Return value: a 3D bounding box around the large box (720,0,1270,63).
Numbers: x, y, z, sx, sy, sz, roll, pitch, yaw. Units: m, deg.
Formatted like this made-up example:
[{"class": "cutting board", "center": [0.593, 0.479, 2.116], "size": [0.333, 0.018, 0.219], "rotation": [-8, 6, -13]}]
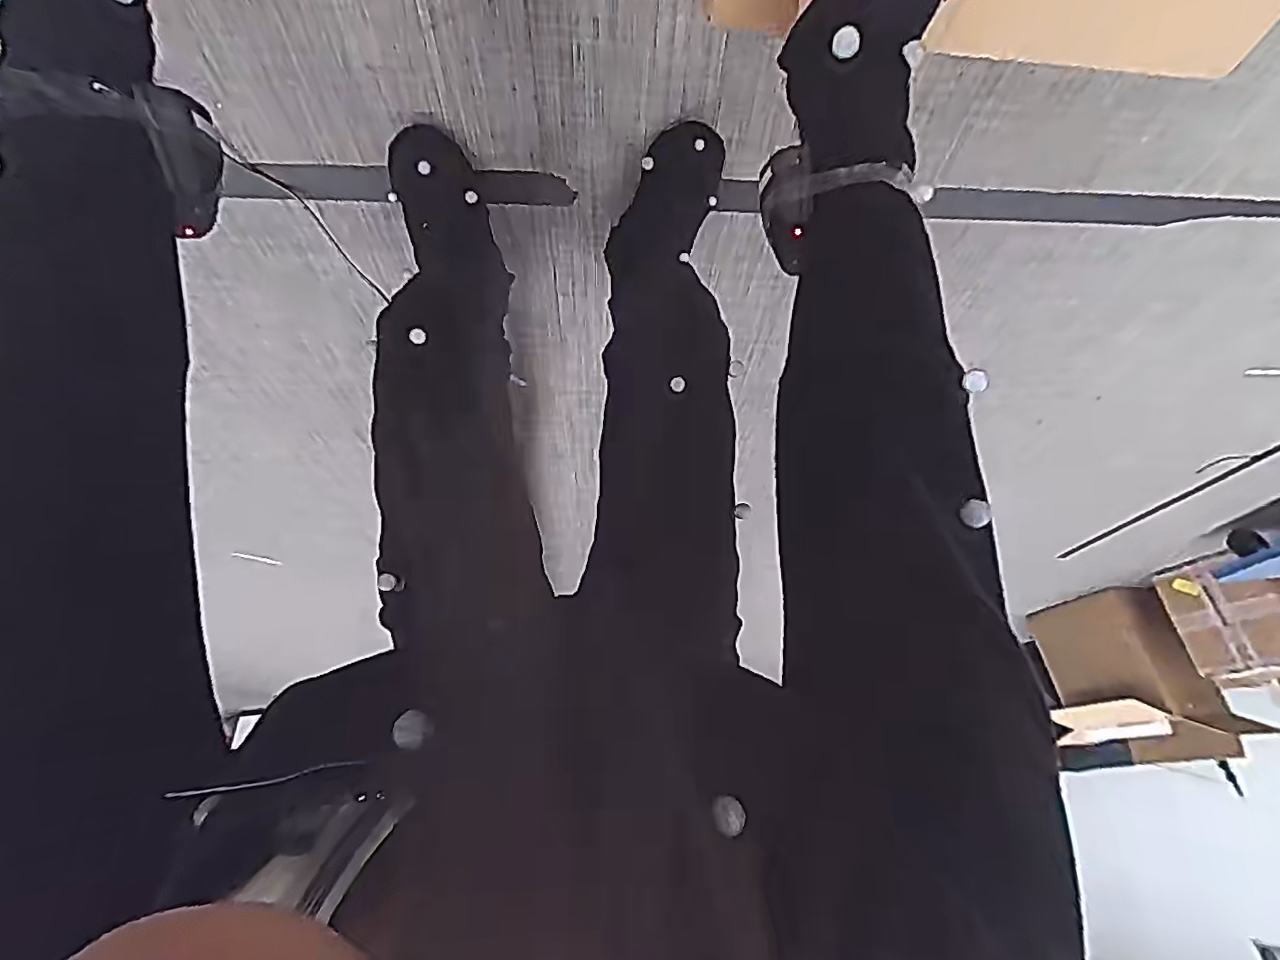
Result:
[{"class": "large box", "center": [0.253, -0.526, 0.341], "size": [0.408, 0.320, 0.320], "rotation": [-1, 151, -8]}]
